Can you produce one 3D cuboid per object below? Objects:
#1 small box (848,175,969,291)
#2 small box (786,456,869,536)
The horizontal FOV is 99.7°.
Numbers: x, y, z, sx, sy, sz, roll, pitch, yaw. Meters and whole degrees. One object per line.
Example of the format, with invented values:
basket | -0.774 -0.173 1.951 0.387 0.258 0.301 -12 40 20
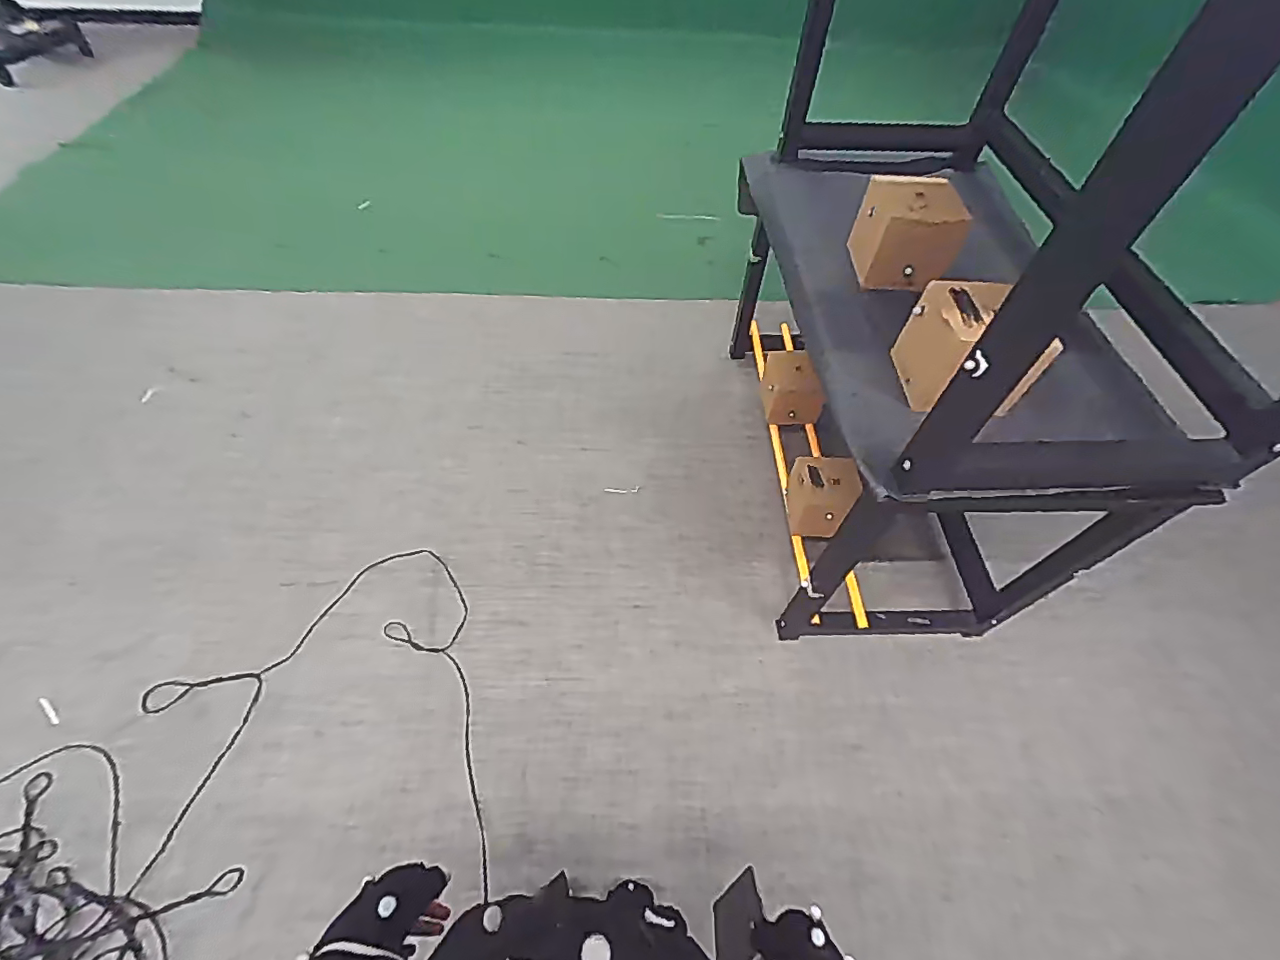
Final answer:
small box | 0.581 -0.545 1.198 0.168 0.176 0.179 2 55 0
small box | 0.524 0.048 1.540 0.179 0.176 0.168 2 55 0
